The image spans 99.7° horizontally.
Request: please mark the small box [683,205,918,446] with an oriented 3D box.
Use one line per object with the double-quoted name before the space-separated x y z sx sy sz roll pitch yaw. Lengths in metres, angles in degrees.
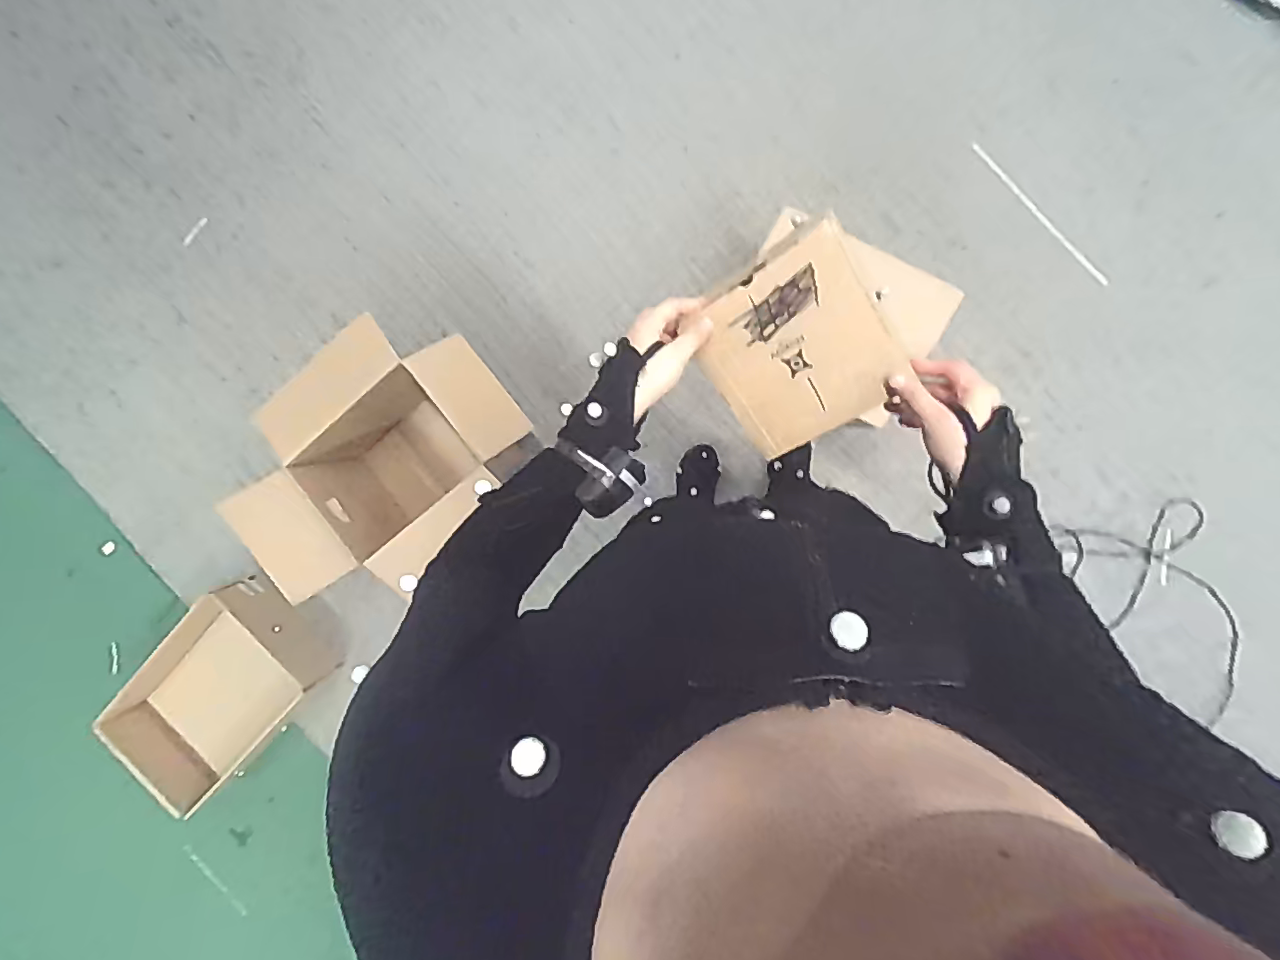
"small box" 0.174 -0.173 0.590 0.168 0.176 0.179 -28 107 31
